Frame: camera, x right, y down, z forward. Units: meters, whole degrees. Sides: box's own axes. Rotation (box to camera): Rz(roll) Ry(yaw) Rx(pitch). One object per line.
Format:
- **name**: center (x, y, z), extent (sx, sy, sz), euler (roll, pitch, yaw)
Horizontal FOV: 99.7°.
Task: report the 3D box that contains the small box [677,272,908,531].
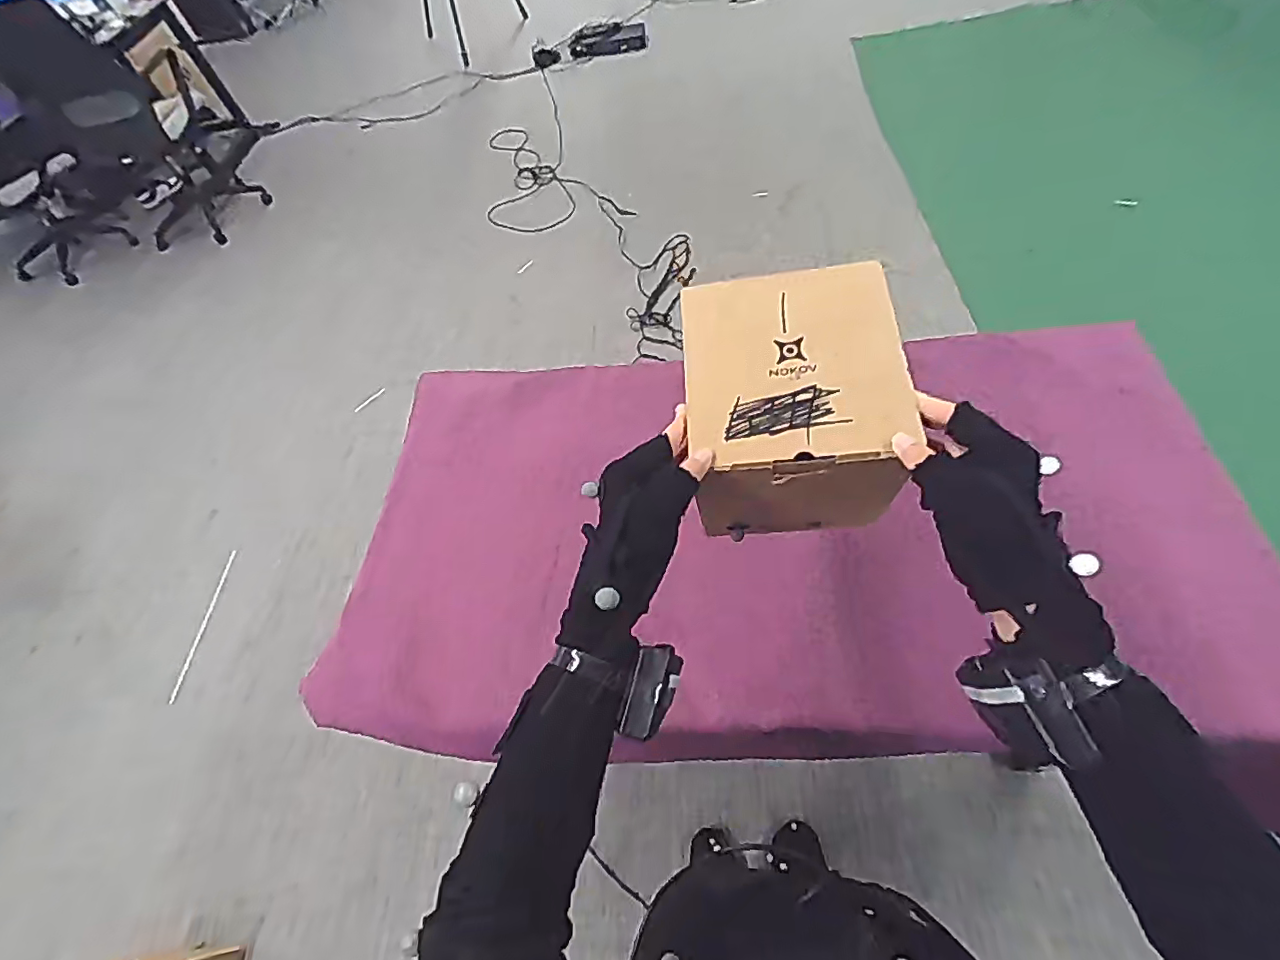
- **small box**: center (0.129, -0.057, 0.503), extent (0.168, 0.176, 0.179), euler (-5, 65, 10)
